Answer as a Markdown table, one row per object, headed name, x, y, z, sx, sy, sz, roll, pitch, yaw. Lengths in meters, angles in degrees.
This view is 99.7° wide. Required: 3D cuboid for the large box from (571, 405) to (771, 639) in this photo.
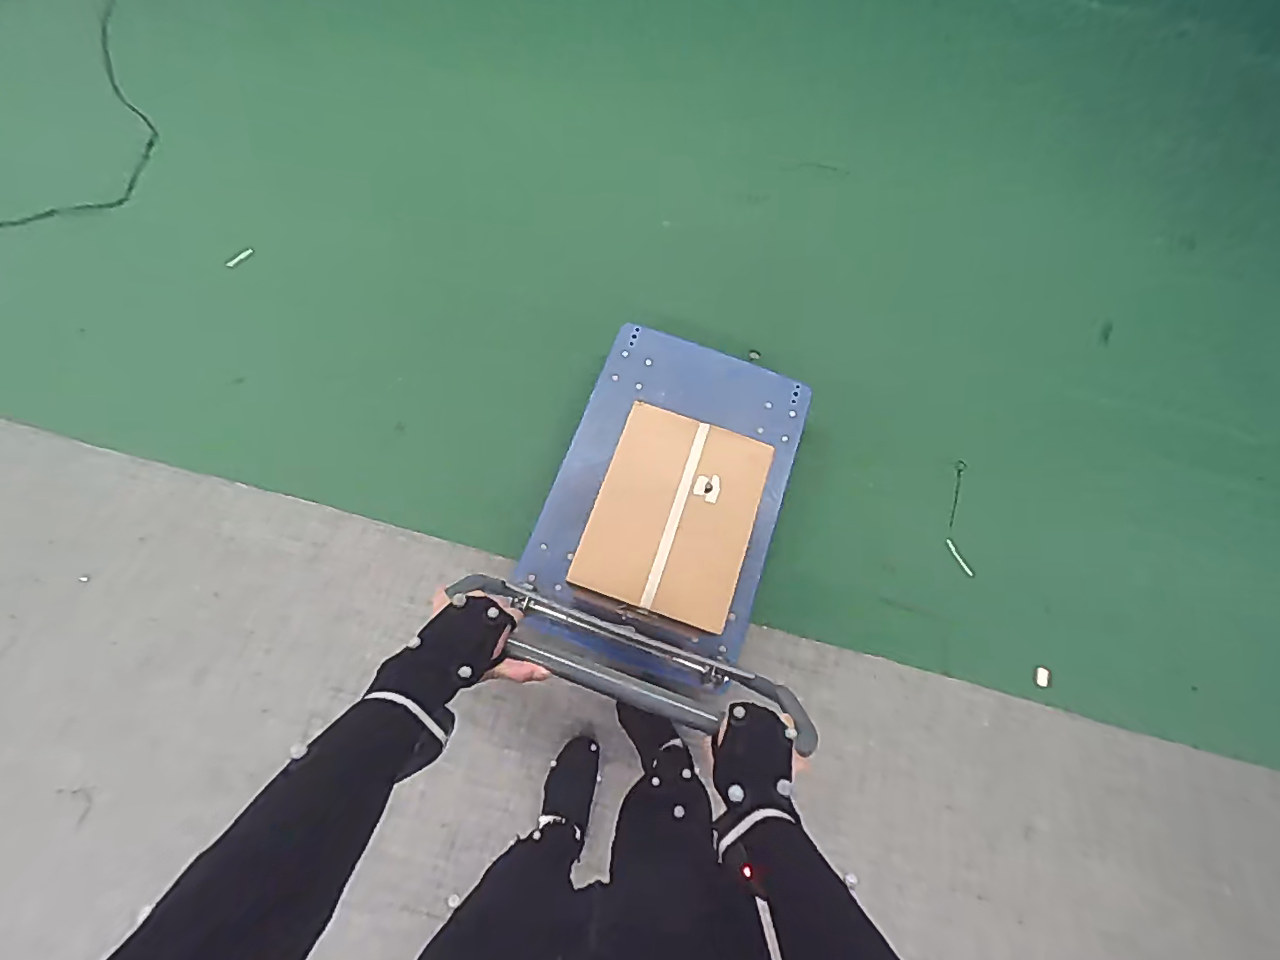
| name | x | y | z | sx | sy | sz | roll | pitch | yaw |
| --- | --- | --- | --- | --- | --- | --- | --- | --- | --- |
| large box | 0.062 | 0.112 | 1.217 | 0.320 | 0.320 | 0.408 | 20 | 72 | 2 |
